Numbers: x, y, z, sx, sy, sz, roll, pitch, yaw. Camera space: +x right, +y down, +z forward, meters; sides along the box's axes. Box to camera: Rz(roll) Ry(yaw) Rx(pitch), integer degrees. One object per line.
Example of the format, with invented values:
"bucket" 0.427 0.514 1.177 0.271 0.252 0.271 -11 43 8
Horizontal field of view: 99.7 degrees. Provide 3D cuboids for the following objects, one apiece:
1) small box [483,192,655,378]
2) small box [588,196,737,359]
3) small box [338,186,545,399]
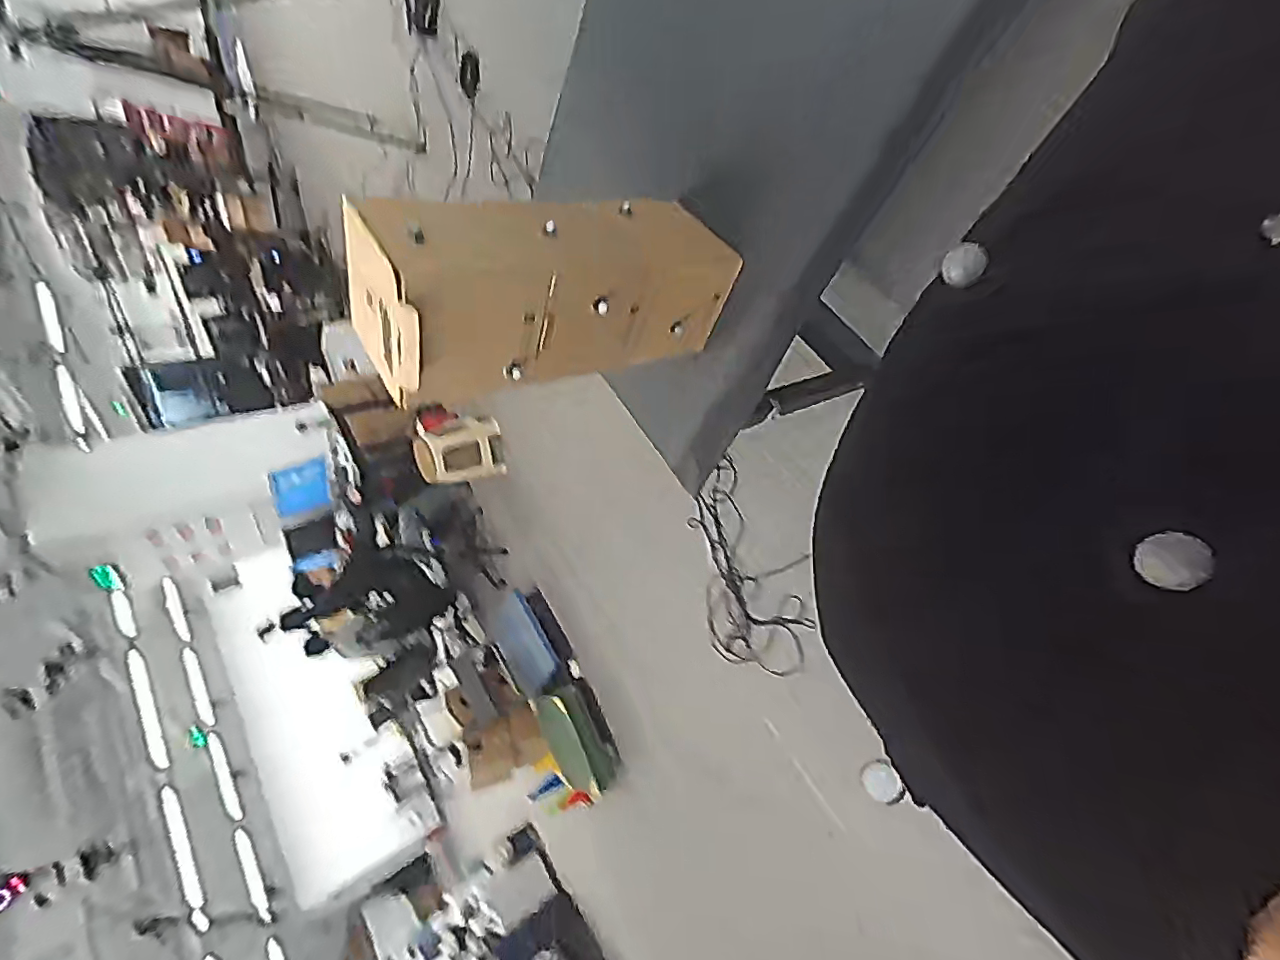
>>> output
"small box" -0.106 -0.267 0.736 0.179 0.176 0.168 52 139 26
"small box" 0.017 -0.314 0.831 0.179 0.176 0.168 52 140 24
"small box" -0.233 -0.224 0.640 0.179 0.176 0.168 51 139 26
